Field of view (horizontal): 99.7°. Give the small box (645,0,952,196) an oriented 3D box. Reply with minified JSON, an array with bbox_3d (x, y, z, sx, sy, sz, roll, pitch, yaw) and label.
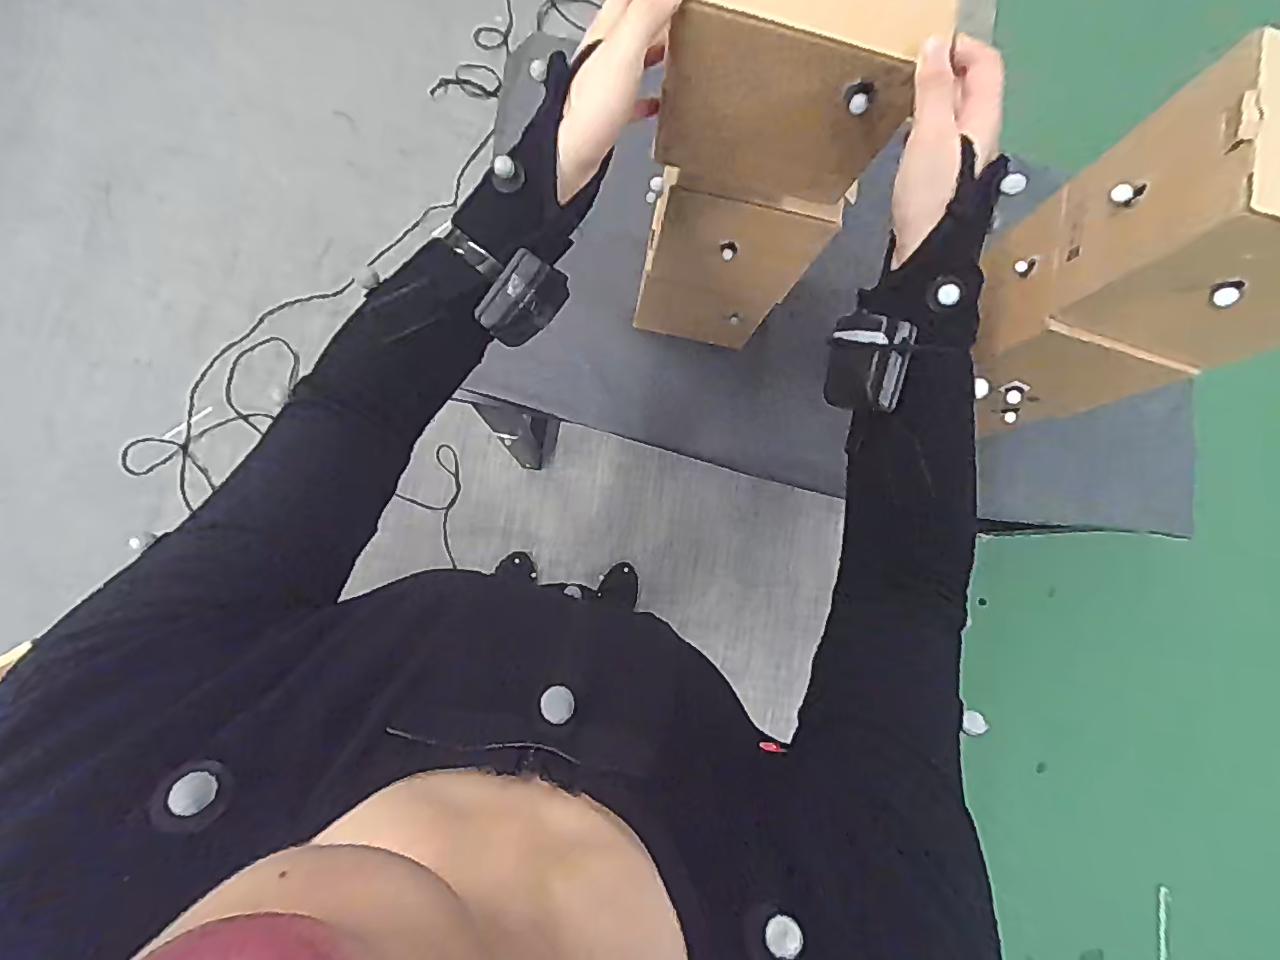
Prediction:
[{"bbox_3d":[0.105,-0.341,0.396,0.179,0.176,0.168,12,90,-4],"label":"small box"}]

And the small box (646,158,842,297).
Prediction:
[{"bbox_3d":[0.112,-0.330,0.614,0.179,0.176,0.168,10,81,-4],"label":"small box"}]

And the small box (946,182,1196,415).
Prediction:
[{"bbox_3d":[0.491,-0.196,0.630,0.168,0.176,0.179,16,81,-1],"label":"small box"}]

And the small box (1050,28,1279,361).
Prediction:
[{"bbox_3d":[0.508,-0.224,0.470,0.179,0.176,0.168,18,80,-1],"label":"small box"}]

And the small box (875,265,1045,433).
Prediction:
[{"bbox_3d":[0.478,-0.178,0.791,0.179,0.176,0.168,14,79,-3],"label":"small box"}]
